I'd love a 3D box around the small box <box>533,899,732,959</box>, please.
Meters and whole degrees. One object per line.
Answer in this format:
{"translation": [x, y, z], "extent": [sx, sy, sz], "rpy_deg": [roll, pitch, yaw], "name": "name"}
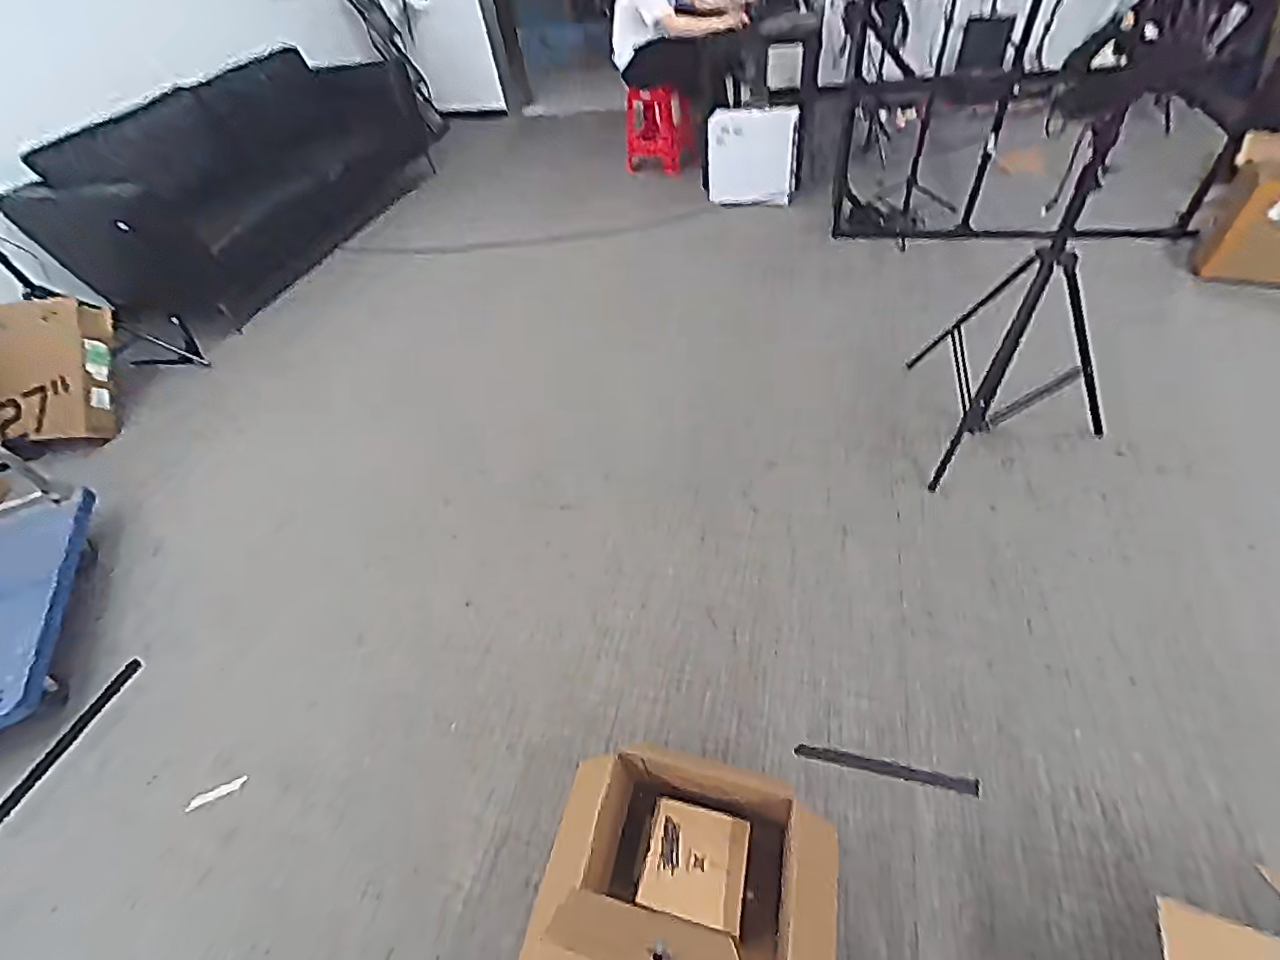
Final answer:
{"translation": [-0.012, 0.479, 0.443], "extent": [0.179, 0.176, 0.168], "rpy_deg": [11, 64, 9], "name": "small box"}
